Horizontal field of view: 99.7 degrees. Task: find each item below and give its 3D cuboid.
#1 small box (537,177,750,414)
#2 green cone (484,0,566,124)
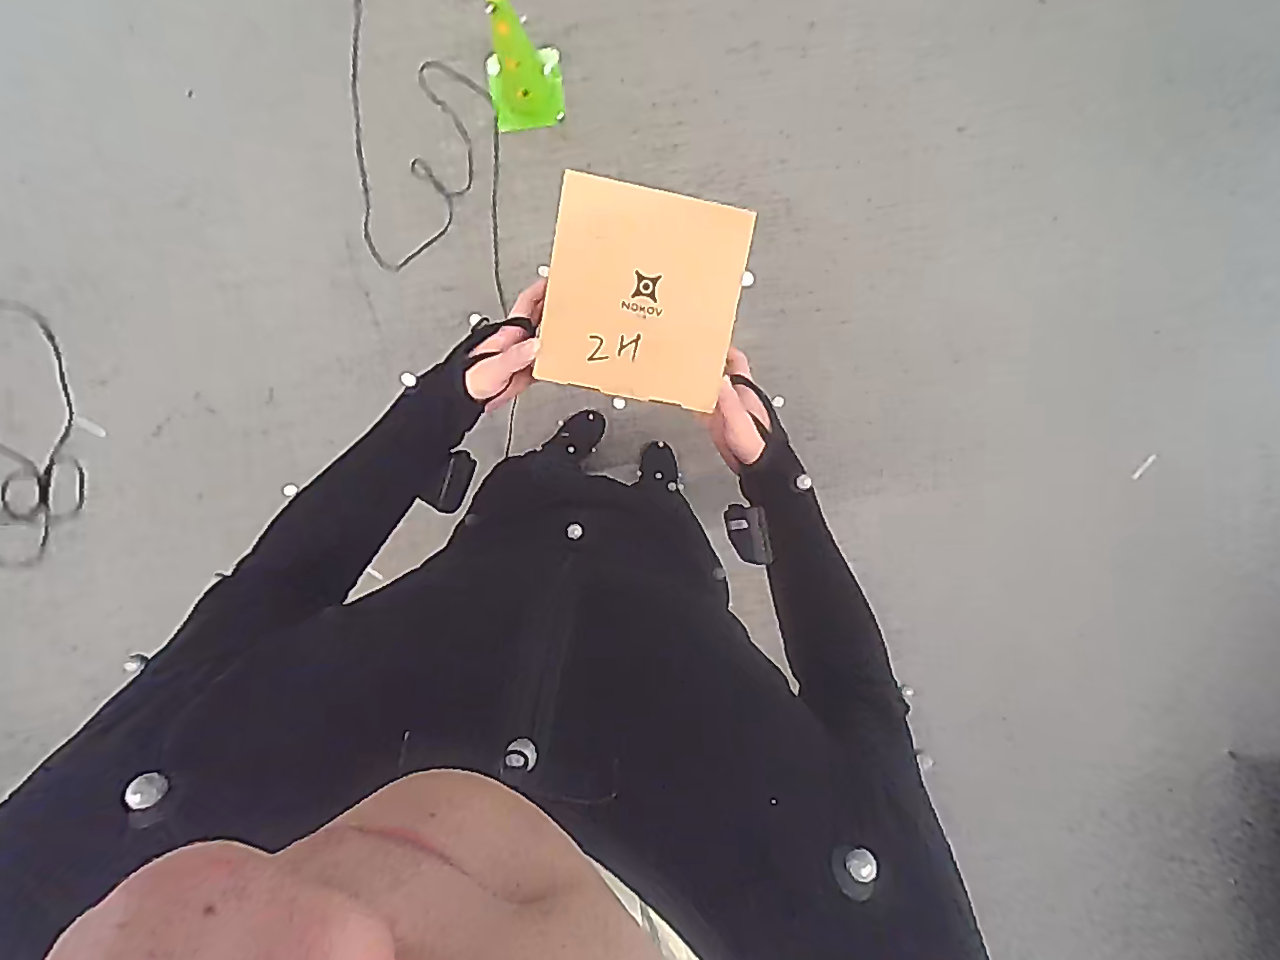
[{"bbox_3d":[-0.003,-0.172,0.555,0.168,0.176,0.179,10,100,-5],"label":"small box"},{"bbox_3d":[-0.316,-1.090,1.335,0.202,0.368,0.200,-7,96,1],"label":"green cone"}]
